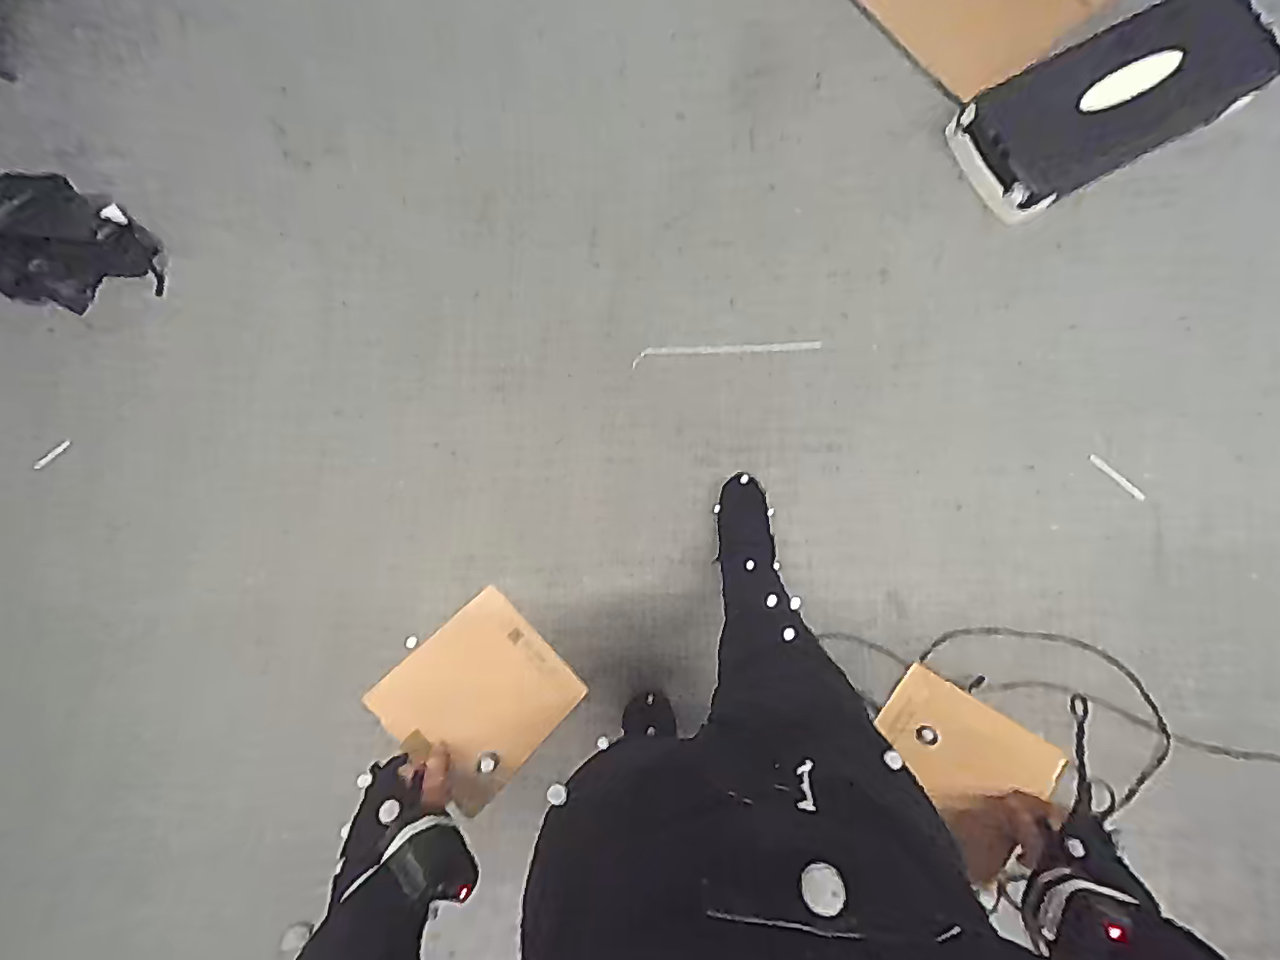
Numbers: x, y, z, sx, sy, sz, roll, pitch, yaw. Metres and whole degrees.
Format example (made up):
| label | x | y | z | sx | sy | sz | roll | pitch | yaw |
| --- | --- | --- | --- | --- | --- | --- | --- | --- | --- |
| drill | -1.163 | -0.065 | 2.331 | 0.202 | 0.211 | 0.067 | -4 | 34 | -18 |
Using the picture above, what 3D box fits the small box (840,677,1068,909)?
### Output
| label | x | y | z | sx | sy | sz | roll | pitch | yaw |
| --- | --- | --- | --- | --- | --- | --- | --- | --- | --- |
| small box | 0.367 | 0.369 | 0.652 | 0.168 | 0.179 | 0.176 | -49 | 47 | -11 |
